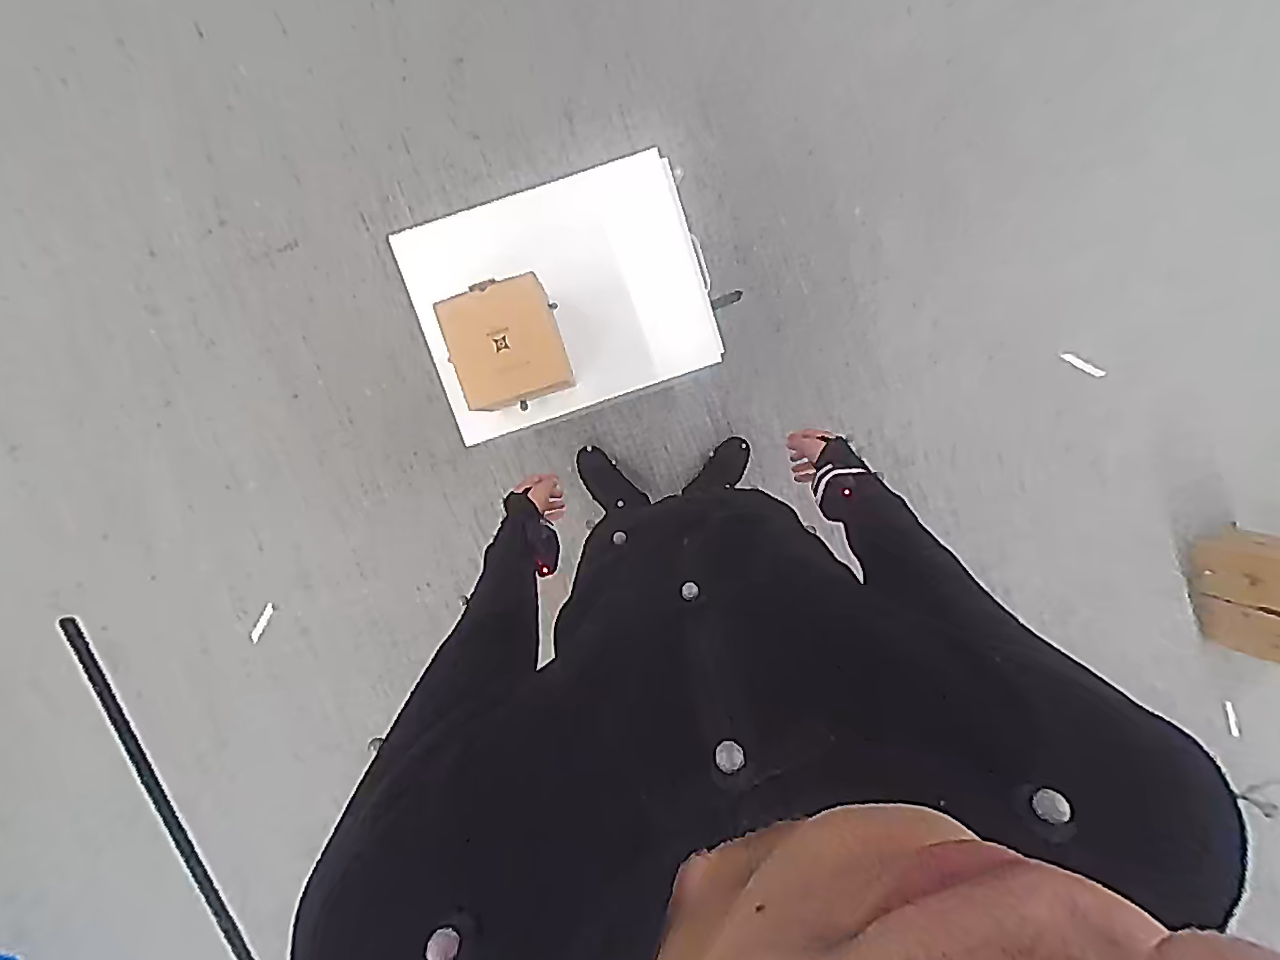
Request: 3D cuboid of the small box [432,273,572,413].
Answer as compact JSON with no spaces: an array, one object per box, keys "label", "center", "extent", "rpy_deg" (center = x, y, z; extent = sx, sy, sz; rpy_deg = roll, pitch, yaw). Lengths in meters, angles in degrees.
[{"label":"small box","center":[-0.221,-0.219,0.912],"extent":[0.168,0.176,0.179],"rpy_deg":[-18,97,0]}]
